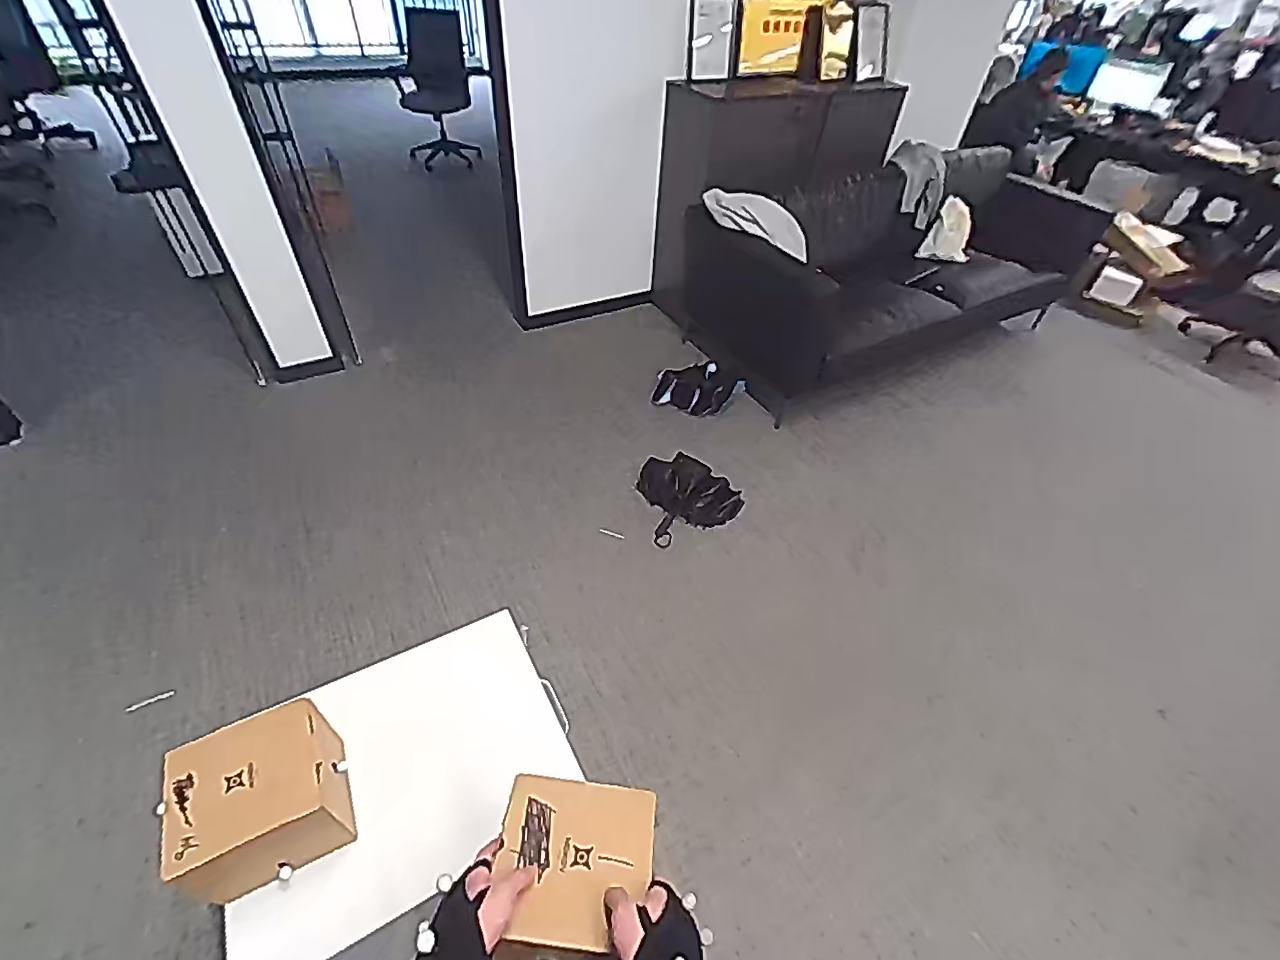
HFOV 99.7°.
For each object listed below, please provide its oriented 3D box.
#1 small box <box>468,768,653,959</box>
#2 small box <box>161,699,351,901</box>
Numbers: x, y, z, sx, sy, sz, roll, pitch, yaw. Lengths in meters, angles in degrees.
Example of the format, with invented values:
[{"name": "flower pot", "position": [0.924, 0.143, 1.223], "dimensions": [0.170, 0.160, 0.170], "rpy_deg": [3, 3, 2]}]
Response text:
[{"name": "small box", "position": [-0.085, 0.472, 0.630], "dimensions": [0.179, 0.176, 0.168], "rpy_deg": [8, 30, 1]}, {"name": "small box", "position": [-0.528, 0.451, 0.766], "dimensions": [0.179, 0.176, 0.168], "rpy_deg": [-18, 49, -23]}]
